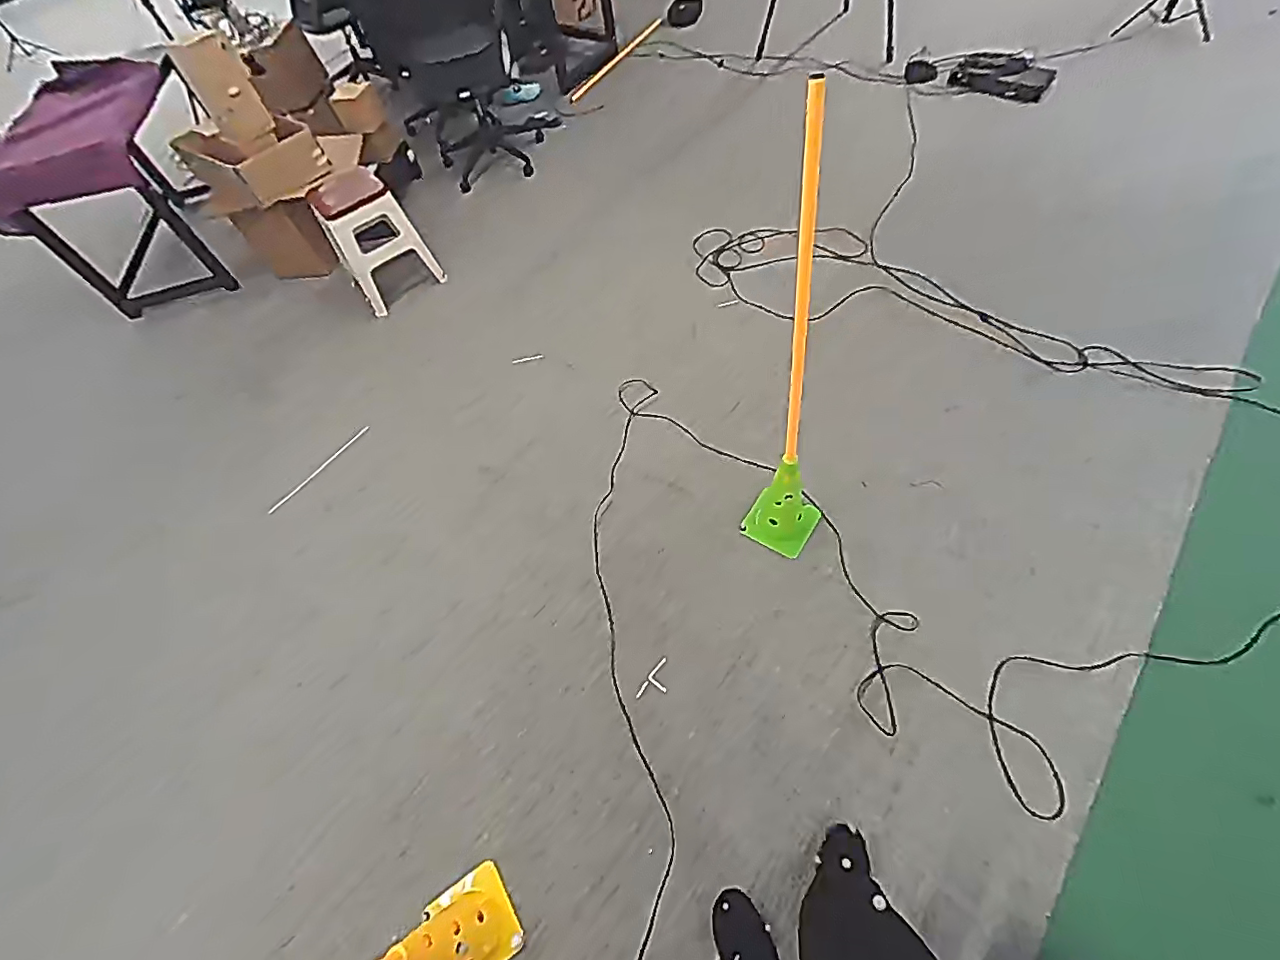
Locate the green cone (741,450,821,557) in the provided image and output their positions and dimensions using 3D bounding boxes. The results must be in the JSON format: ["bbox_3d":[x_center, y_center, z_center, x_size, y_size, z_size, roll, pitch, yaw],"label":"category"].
[{"bbox_3d":[0.425,0.037,1.566,0.200,0.368,0.202,28,64,23],"label":"green cone"}]
